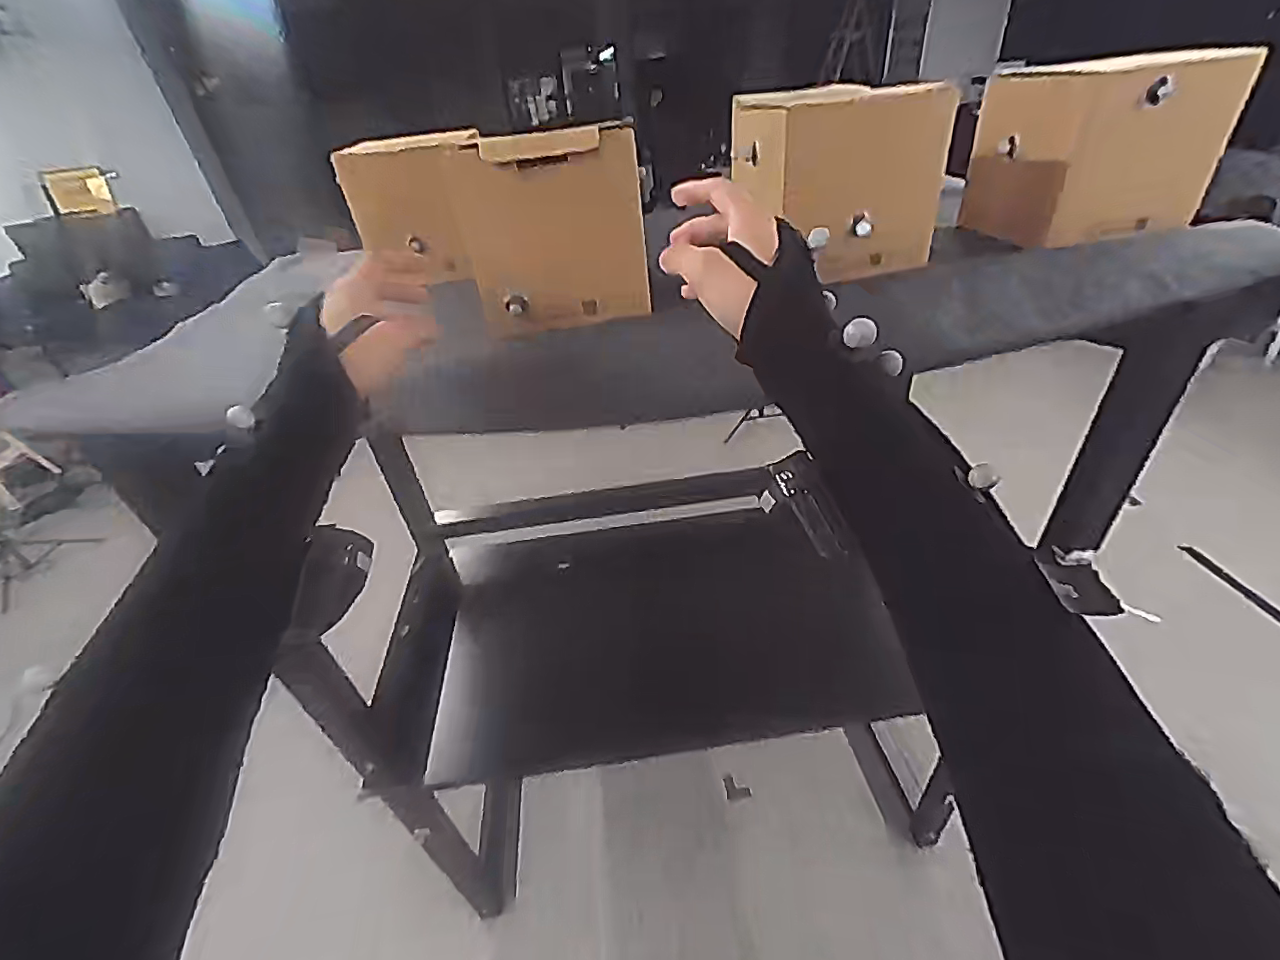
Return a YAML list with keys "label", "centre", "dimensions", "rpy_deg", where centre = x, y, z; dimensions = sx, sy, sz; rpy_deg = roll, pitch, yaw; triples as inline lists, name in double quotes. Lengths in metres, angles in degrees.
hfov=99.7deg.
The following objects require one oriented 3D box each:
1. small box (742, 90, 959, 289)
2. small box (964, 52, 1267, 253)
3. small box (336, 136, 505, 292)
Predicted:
- label: "small box"
  centre: [0.214, -0.327, 0.610]
  dimensions: [0.168, 0.176, 0.179]
  rpy_deg: [-9, 35, -2]
- label: "small box"
  centre: [0.511, -0.369, 0.621]
  dimensions: [0.168, 0.176, 0.179]
  rpy_deg: [-8, 35, 0]
- label: "small box"
  centre: [-0.297, -0.384, 0.777]
  dimensions: [0.168, 0.176, 0.179]
  rpy_deg: [-9, 37, -3]
